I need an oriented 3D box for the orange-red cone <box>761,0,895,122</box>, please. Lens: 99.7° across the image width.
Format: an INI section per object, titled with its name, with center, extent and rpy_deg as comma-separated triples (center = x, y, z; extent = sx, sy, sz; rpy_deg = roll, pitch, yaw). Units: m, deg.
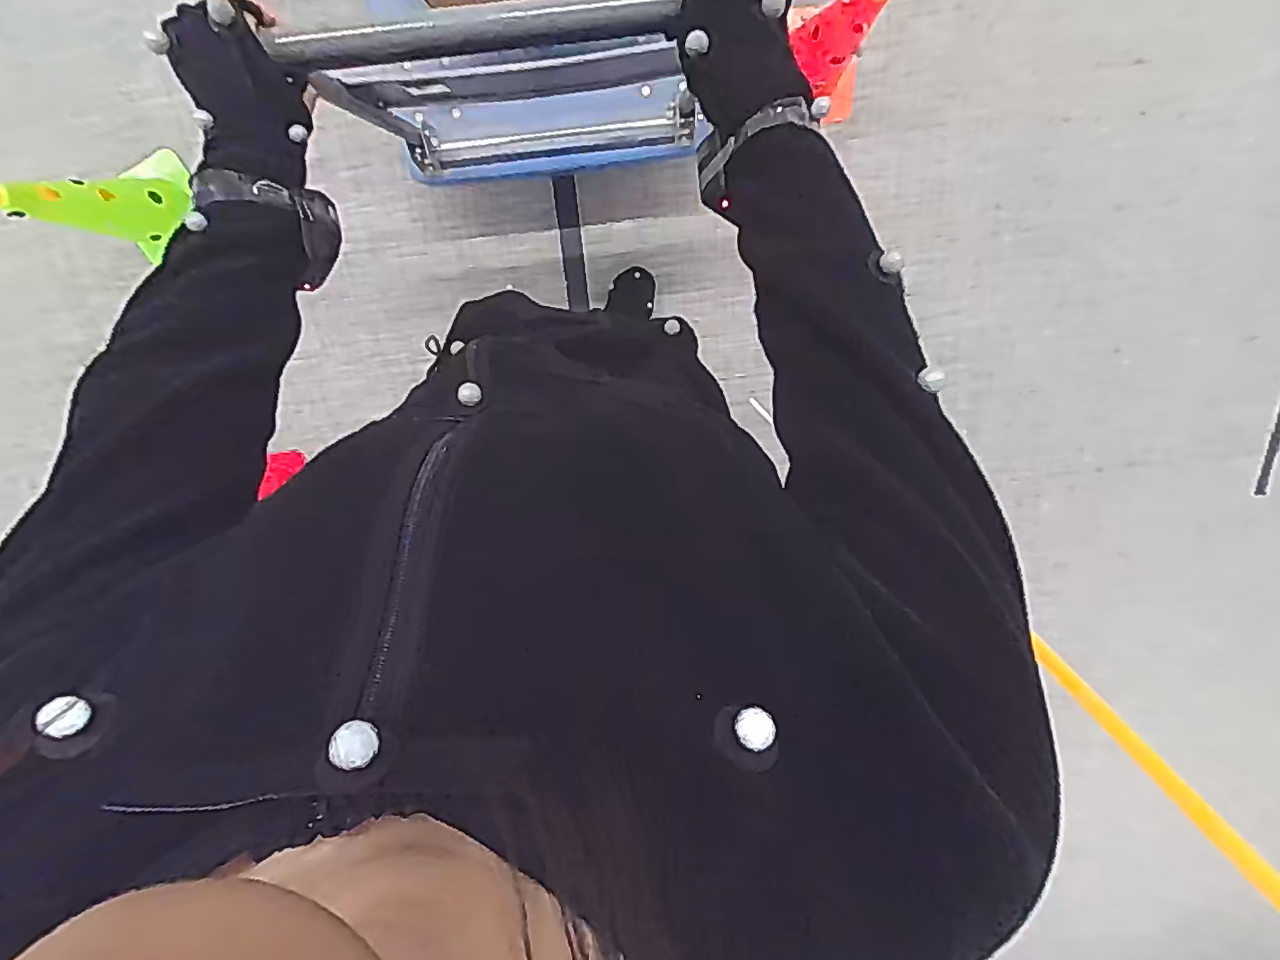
[orange-red cone]
center = 0.365, -0.797, 0.964
extent = 0.199, 0.360, 0.198
rpy_deg = 0, 112, -3
